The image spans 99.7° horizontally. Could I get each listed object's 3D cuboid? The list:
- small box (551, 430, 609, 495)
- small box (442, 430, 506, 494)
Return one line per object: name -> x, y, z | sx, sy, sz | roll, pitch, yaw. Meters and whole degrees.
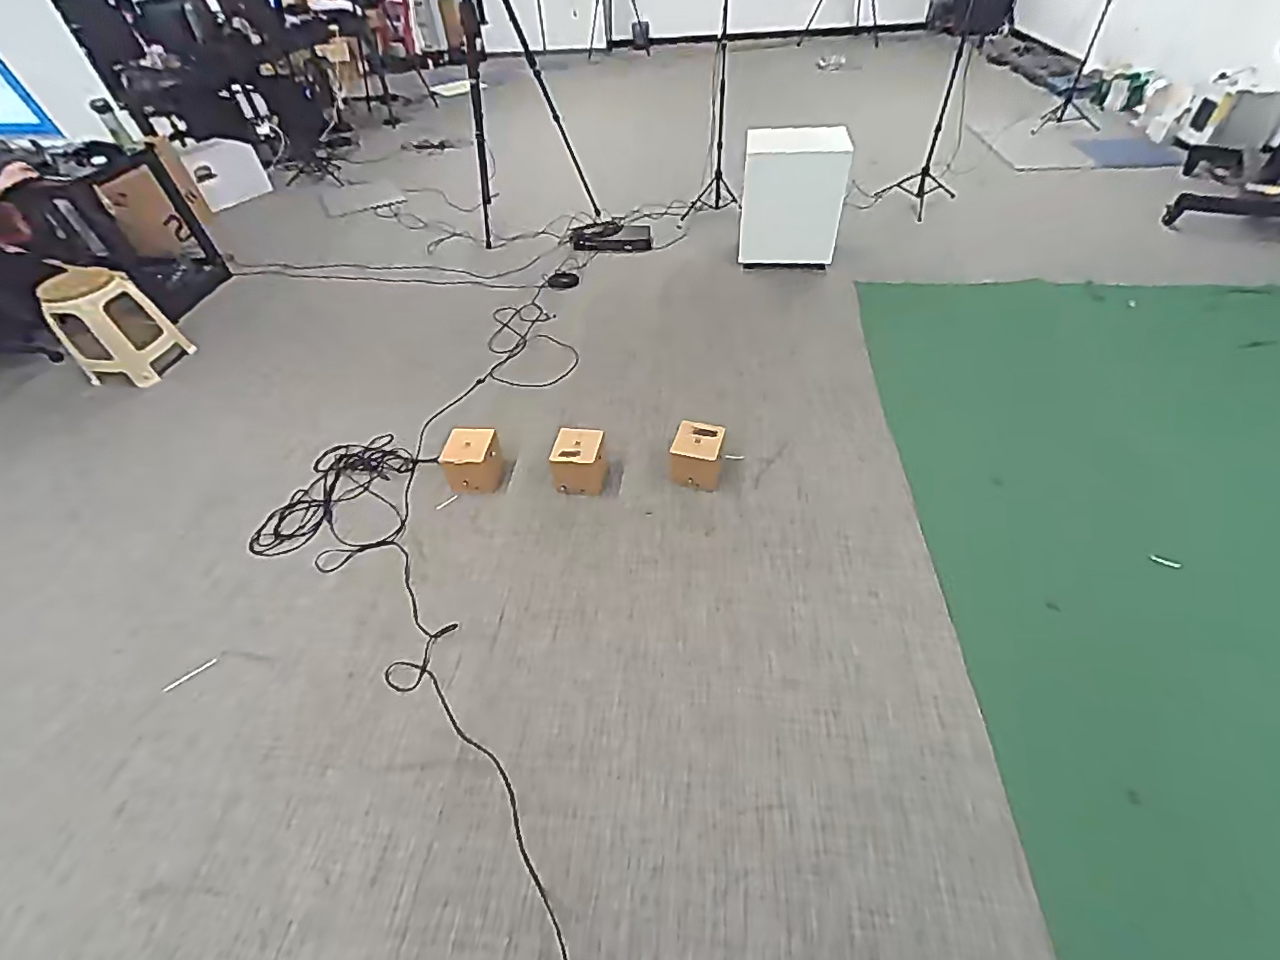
small box -> -0.215, -0.064, 1.997 | 0.168, 0.176, 0.179 | 5, 47, 9
small box -> -0.616, -0.069, 2.037 | 0.168, 0.176, 0.179 | 1, 48, 6
